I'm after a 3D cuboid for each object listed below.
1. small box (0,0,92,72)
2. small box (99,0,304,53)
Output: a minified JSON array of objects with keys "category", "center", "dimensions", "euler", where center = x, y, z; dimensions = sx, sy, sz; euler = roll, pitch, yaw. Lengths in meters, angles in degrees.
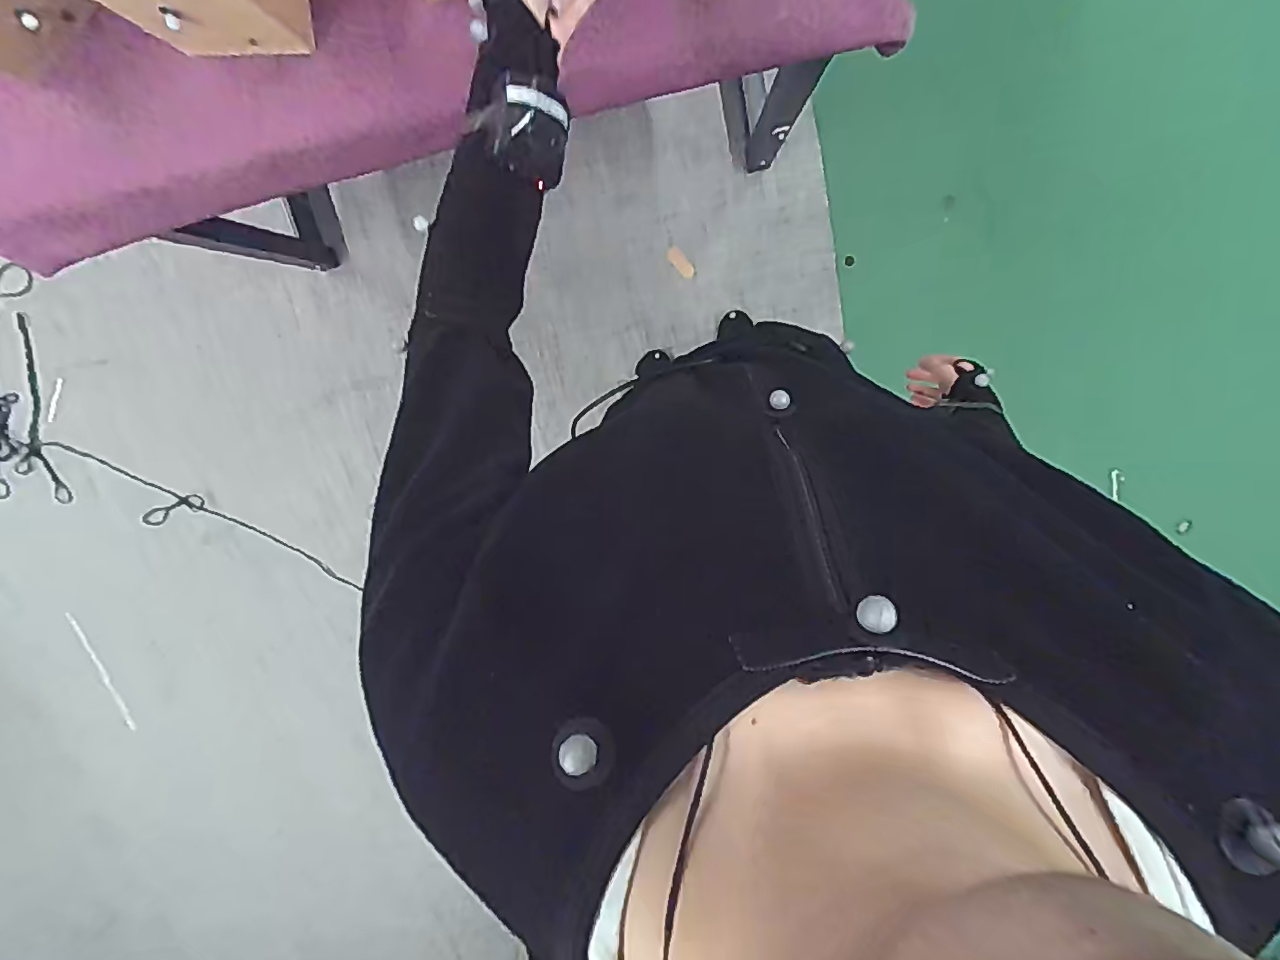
[{"category":"small box","center":[-0.762,-0.592,0.567],"dimensions":[0.168,0.176,0.179],"euler":[-37,100,10]},{"category":"small box","center":[-0.484,-0.583,0.564],"dimensions":[0.168,0.176,0.179],"euler":[2,103,2]}]
